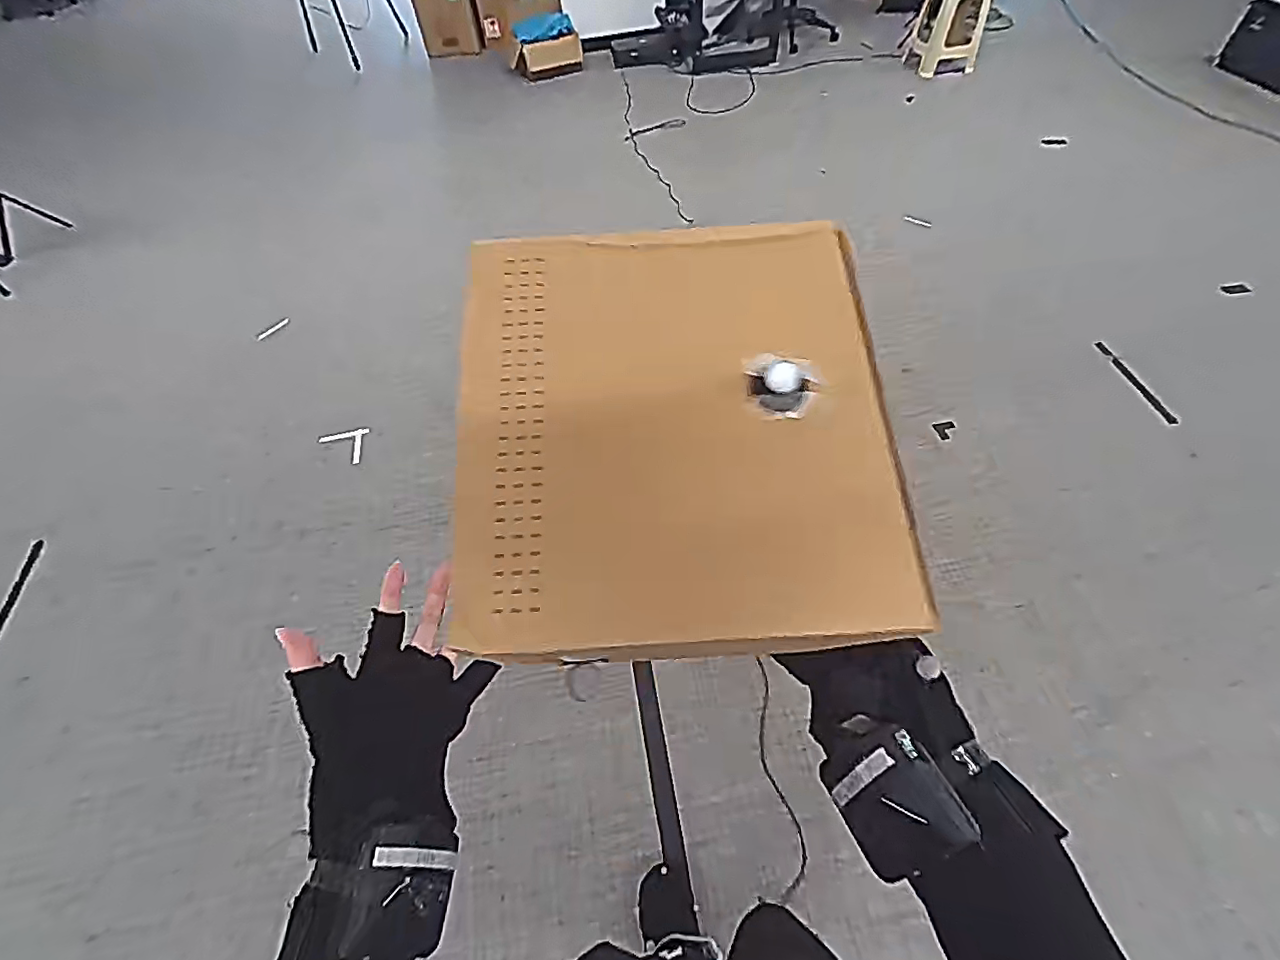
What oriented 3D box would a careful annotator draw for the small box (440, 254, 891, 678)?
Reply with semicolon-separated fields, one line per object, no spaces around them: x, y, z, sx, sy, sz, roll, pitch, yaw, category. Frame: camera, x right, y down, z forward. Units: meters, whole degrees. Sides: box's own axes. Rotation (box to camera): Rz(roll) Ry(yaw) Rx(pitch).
0.004;0.008;0.295;0.176;0.168;0.179;-4;70;2;small box
